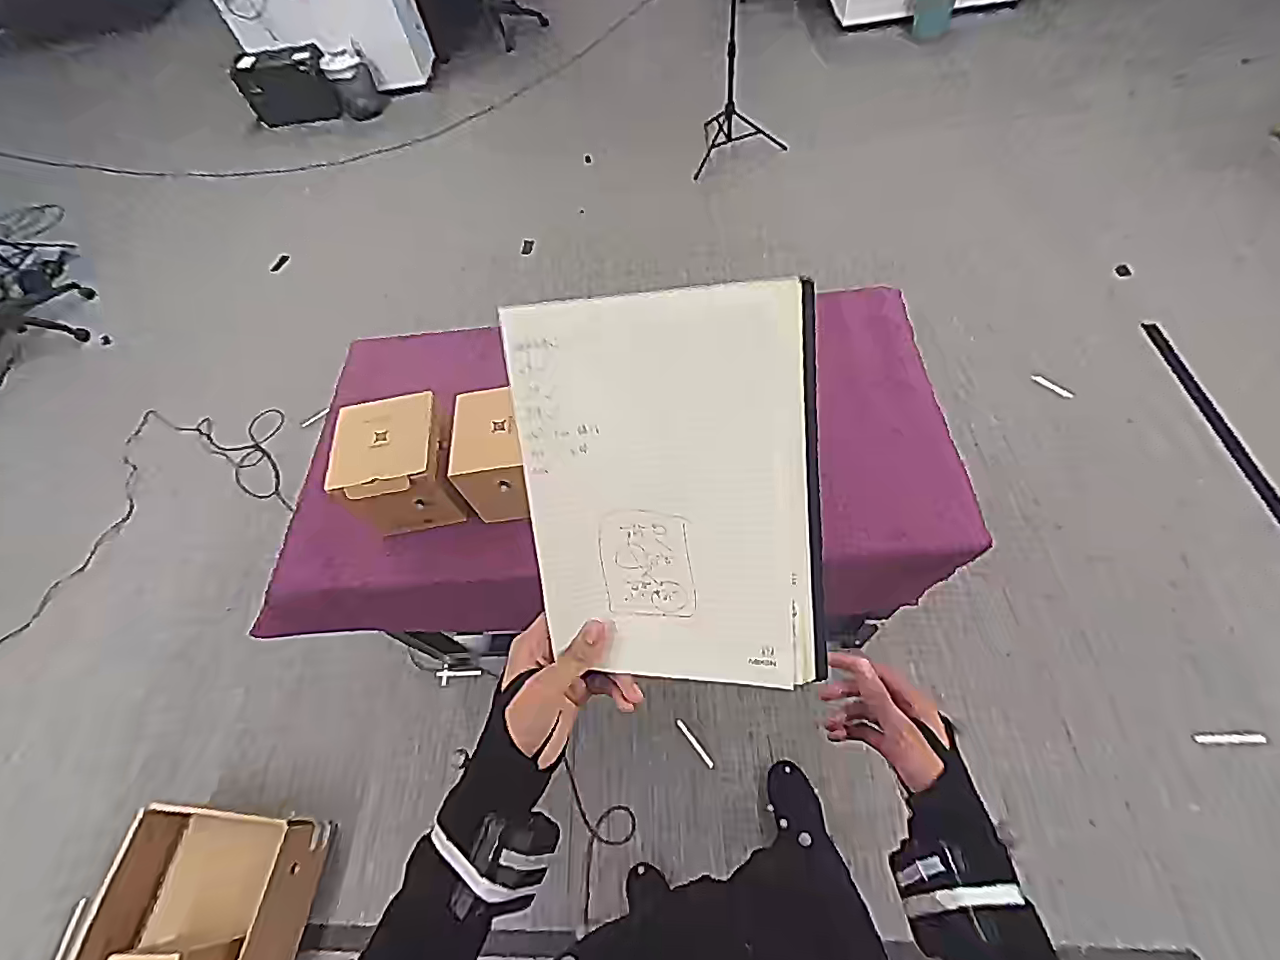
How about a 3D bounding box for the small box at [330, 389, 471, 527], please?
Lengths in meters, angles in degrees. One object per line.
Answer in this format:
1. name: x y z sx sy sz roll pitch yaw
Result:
1. small box: -0.410 -0.030 0.957 0.168 0.176 0.179 -10 58 1
